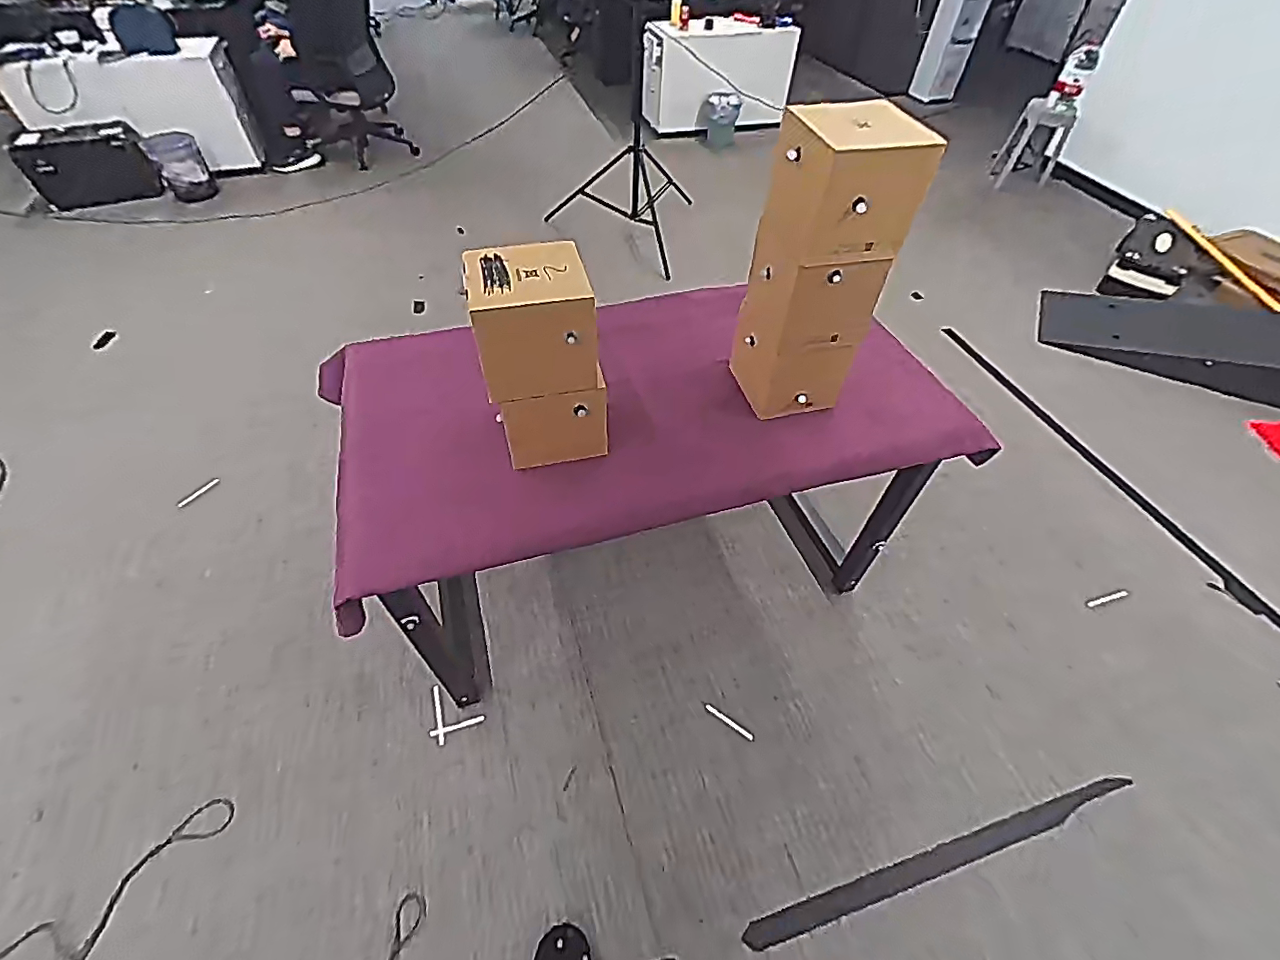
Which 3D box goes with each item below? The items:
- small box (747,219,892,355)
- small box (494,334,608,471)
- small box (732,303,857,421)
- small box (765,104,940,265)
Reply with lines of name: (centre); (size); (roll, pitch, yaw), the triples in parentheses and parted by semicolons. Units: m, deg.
small box: (0.301, -0.345, 0.956); (0.168, 0.176, 0.179); (-9, 51, -9)
small box: (-0.158, -0.138, 0.982); (0.179, 0.176, 0.168); (-11, 51, -10)
small box: (0.296, -0.245, 1.085); (0.168, 0.176, 0.179); (-11, 52, -10)
small box: (0.307, -0.445, 0.826); (0.168, 0.176, 0.179); (-10, 51, -9)
